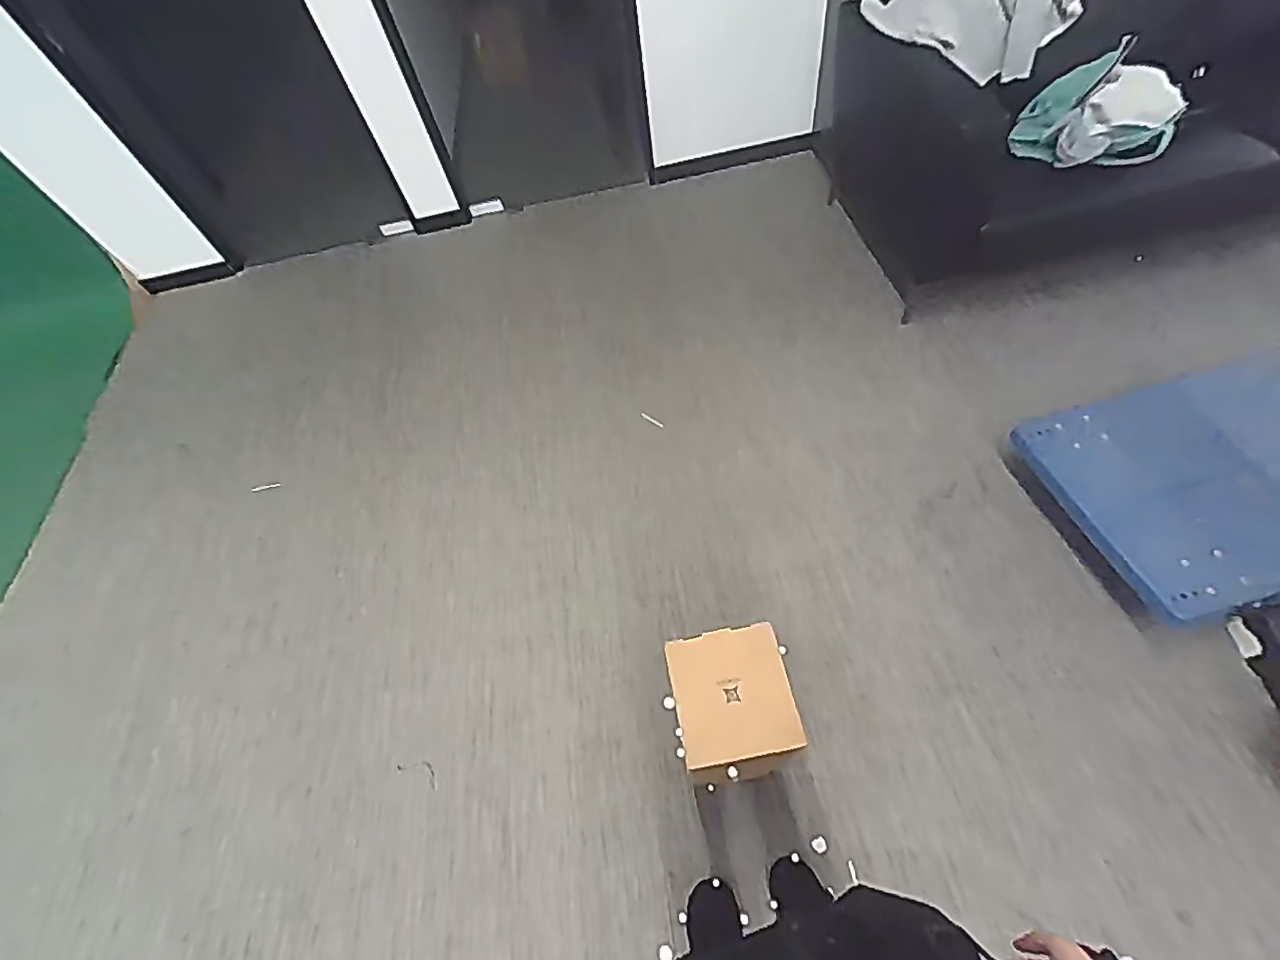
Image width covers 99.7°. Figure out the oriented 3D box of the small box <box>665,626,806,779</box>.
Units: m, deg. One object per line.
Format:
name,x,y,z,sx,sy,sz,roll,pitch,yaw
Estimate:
small box,0.140,0.345,0.824,0.168,0.176,0.179,-12,56,1
